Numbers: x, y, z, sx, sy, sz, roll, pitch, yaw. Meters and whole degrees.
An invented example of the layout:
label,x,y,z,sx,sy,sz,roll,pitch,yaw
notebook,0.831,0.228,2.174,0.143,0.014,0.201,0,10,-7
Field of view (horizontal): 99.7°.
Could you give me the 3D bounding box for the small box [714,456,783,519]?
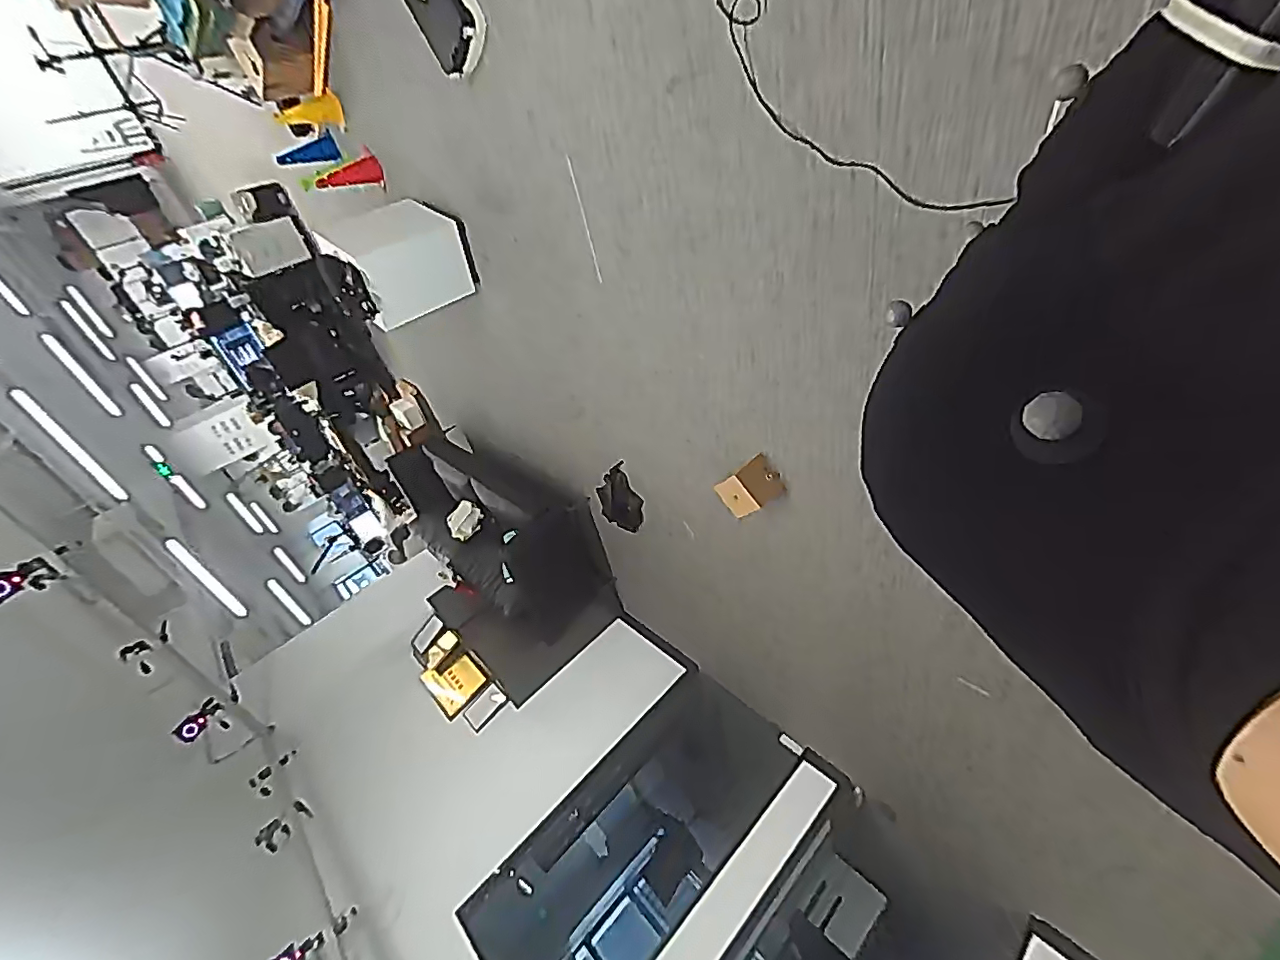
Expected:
label,x,y,z,sx,sy,sz,roll,pitch,yaw
small box,0.438,0.030,2.164,0.168,0.176,0.179,51,152,1
